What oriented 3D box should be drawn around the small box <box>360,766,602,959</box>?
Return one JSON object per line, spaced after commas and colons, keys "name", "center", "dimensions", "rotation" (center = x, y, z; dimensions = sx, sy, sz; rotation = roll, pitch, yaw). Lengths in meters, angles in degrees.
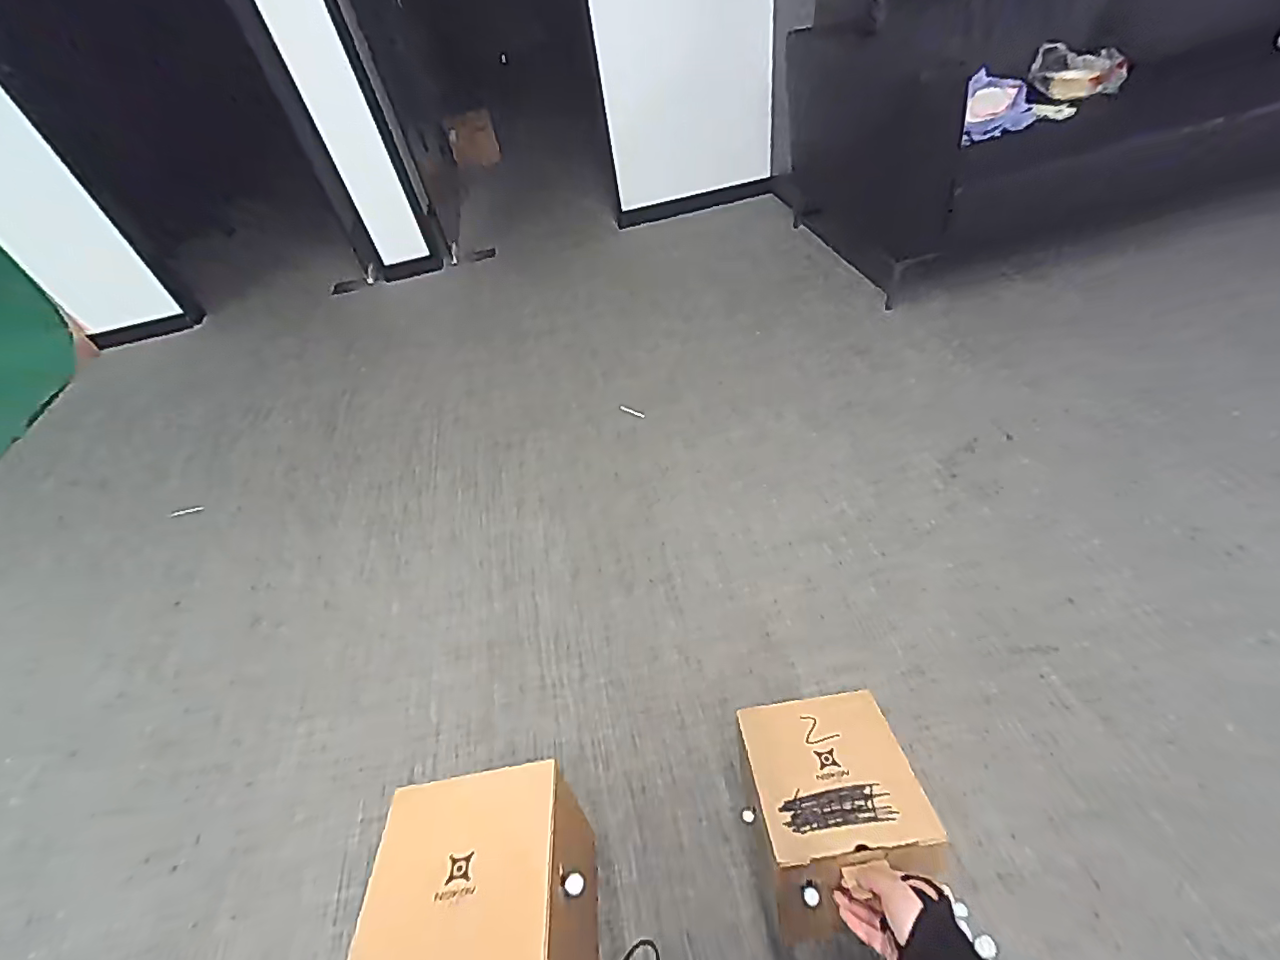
{"name": "small box", "center": [-0.136, 0.415, 0.521], "dimensions": [0.168, 0.176, 0.179], "rotation": [-13, 34, 3]}
